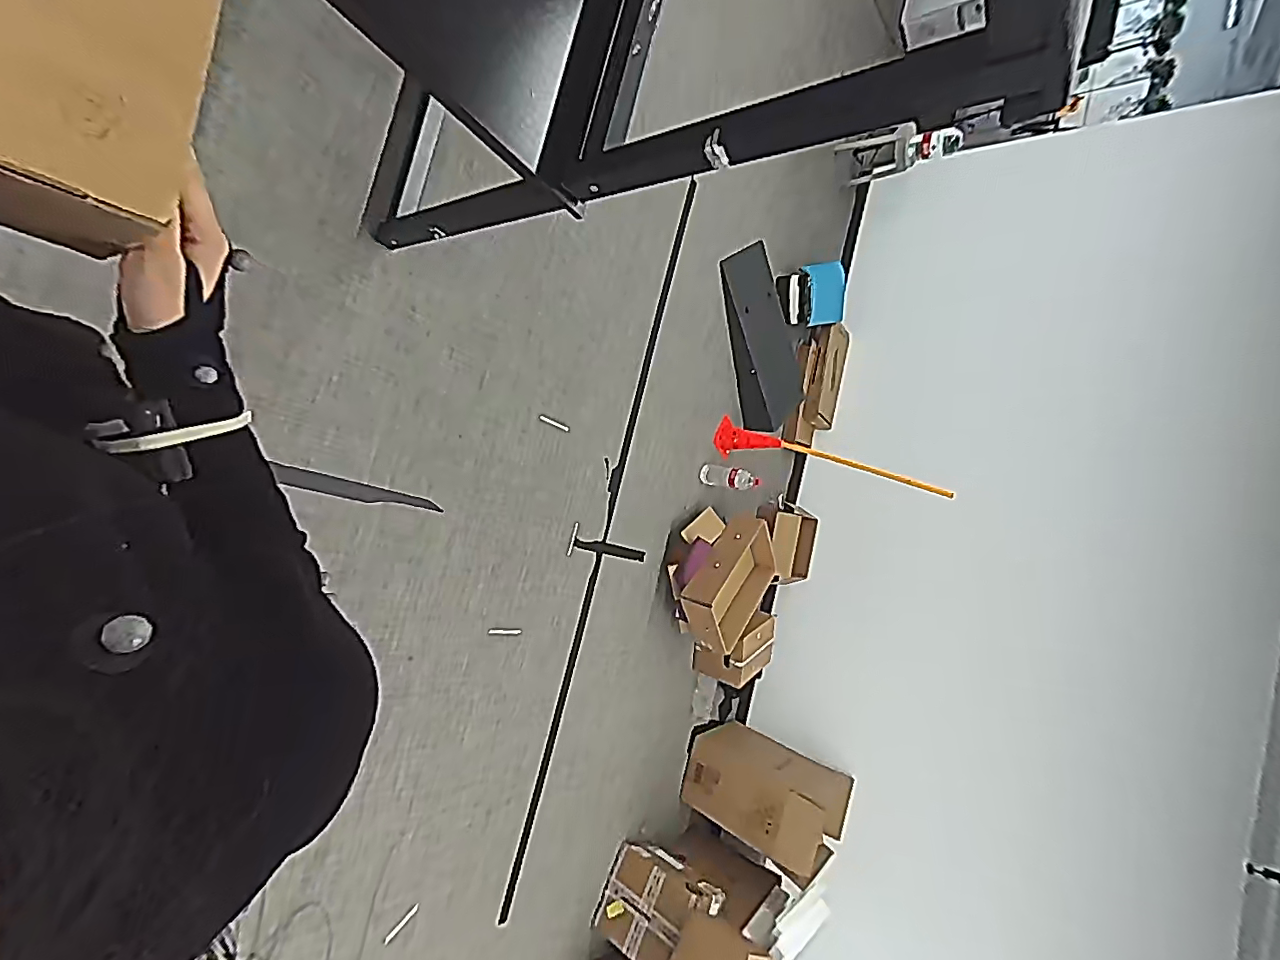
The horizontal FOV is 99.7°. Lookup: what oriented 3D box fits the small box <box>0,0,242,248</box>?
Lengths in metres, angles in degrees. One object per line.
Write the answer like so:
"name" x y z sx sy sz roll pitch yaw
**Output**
"small box" -0.317 -0.227 0.252 0.168 0.176 0.179 12 91 -54
